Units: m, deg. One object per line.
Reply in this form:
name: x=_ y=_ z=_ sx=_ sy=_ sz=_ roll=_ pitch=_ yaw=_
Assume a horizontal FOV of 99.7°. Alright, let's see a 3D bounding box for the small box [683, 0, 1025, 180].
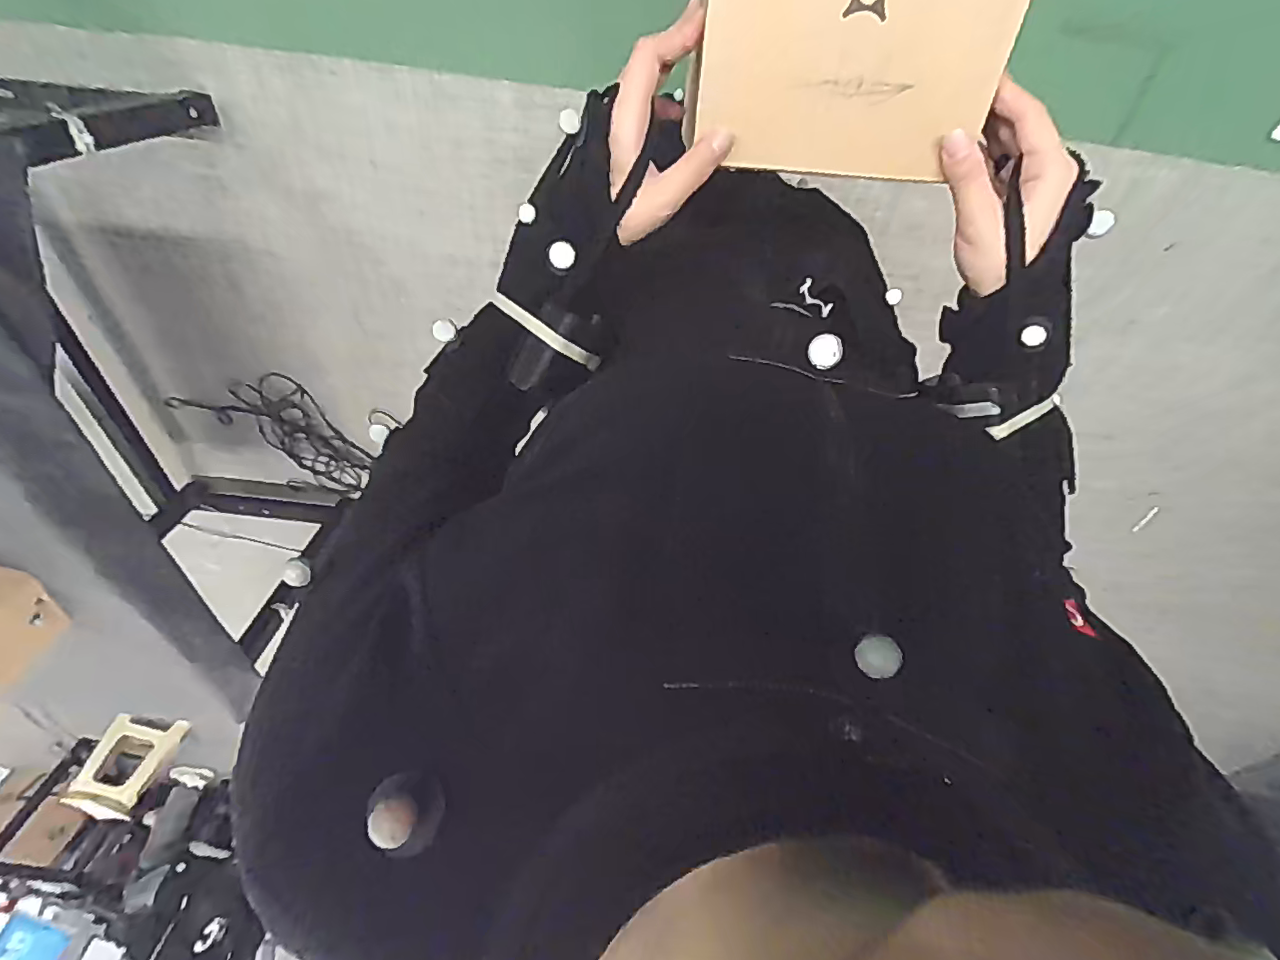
small box: x=0.118 y=-0.304 z=0.338 sx=0.168 sy=0.176 sz=0.179 roll=4 pitch=128 yaw=-1
